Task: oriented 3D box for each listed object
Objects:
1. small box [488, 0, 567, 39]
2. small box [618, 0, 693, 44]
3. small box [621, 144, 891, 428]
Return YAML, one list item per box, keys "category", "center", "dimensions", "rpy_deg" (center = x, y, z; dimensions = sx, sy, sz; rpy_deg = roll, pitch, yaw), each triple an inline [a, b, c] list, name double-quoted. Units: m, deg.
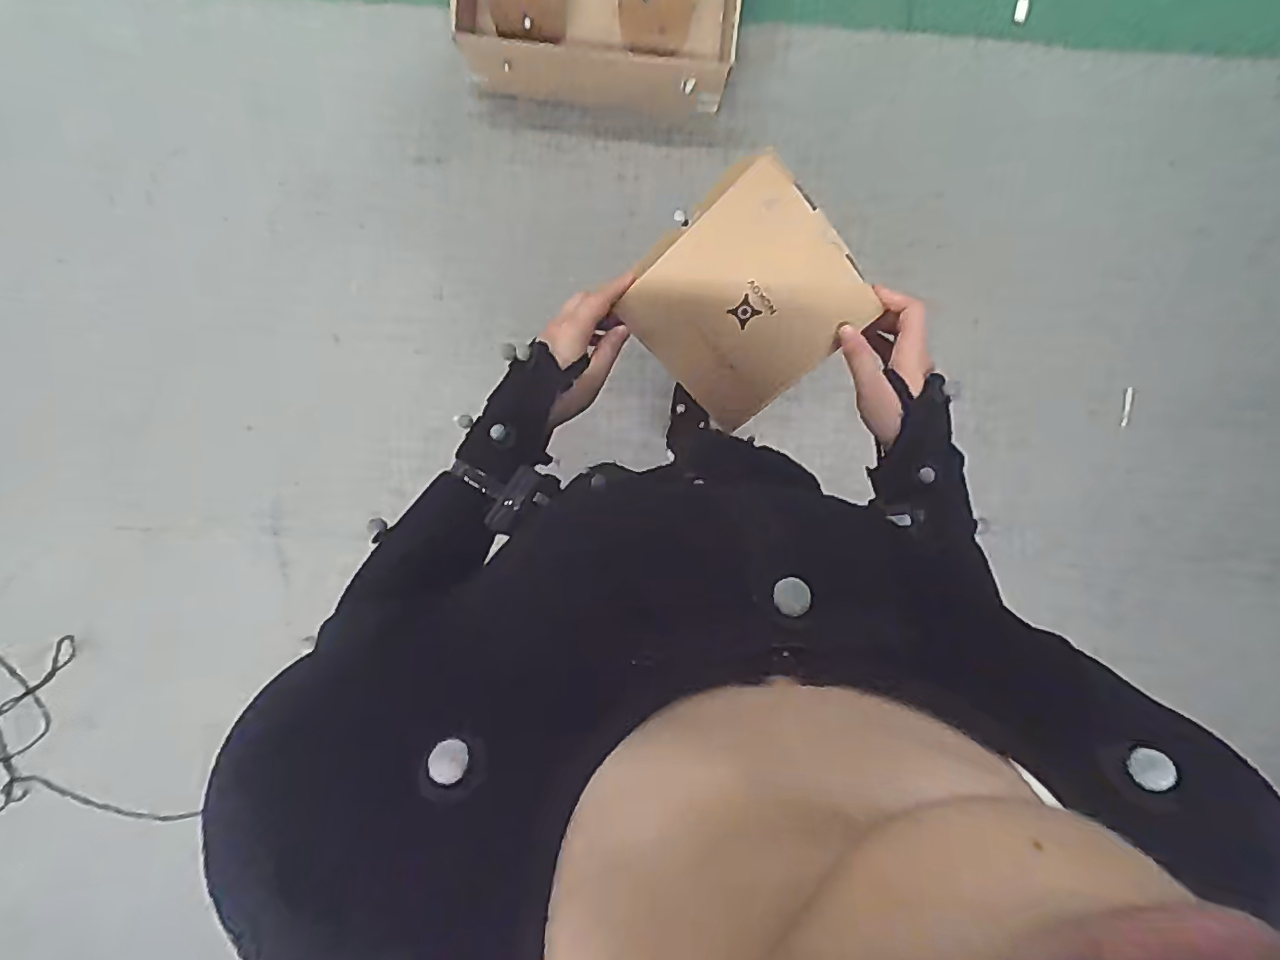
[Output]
- category: "small box"
  center: [-0.250, -1.117, 1.179]
  dimensions: [0.168, 0.176, 0.179]
  rpy_deg: [2, 98, -1]
- category: "small box"
  center: [0.042, -1.118, 1.186]
  dimensions: [0.168, 0.176, 0.179]
  rpy_deg: [8, 98, -1]
- category: "small box"
  center: [0.099, -0.189, 0.529]
  dimensions: [0.179, 0.176, 0.168]
  rpy_deg: [-40, 110, 20]
